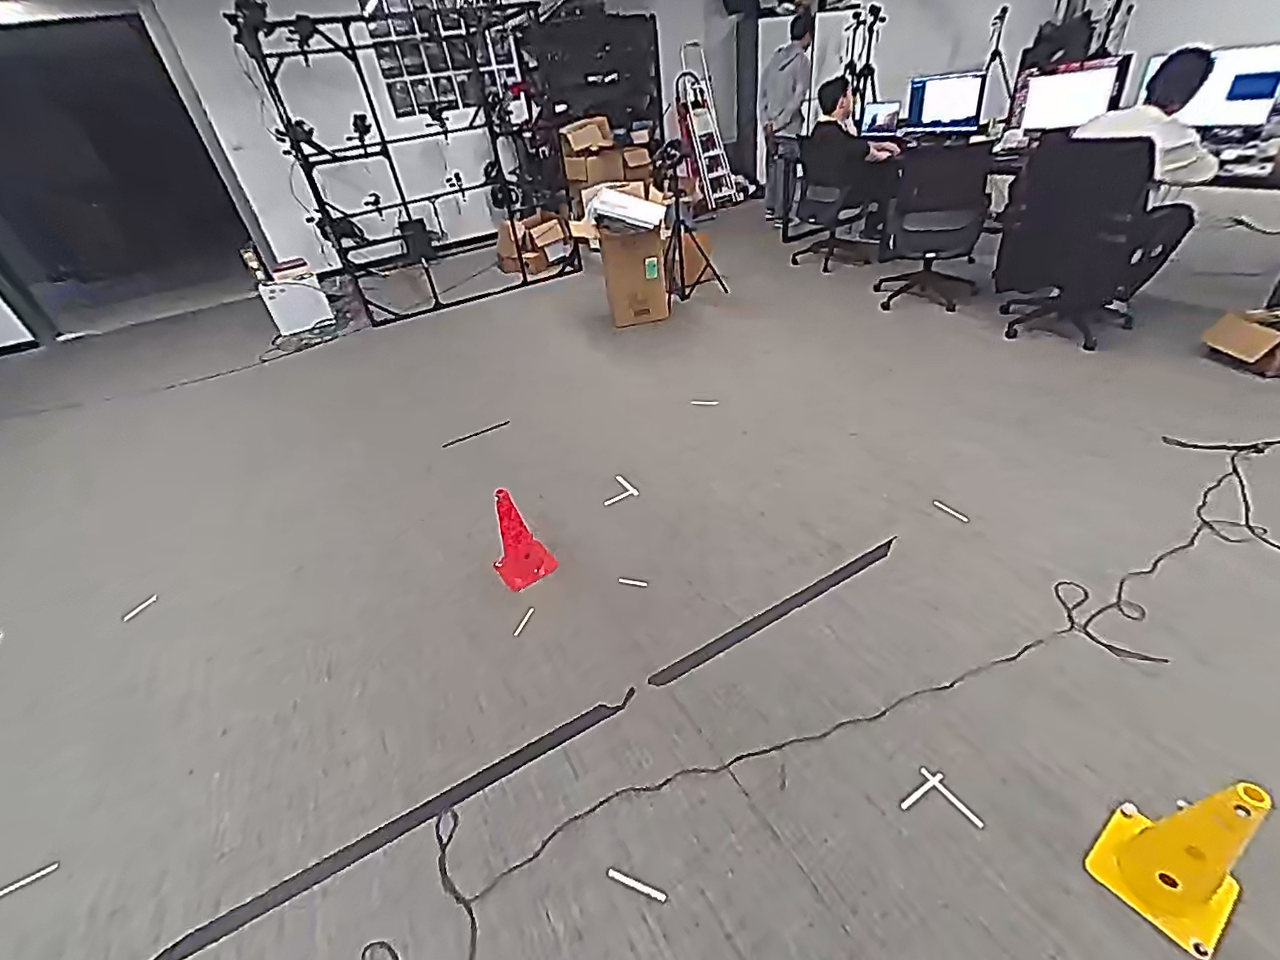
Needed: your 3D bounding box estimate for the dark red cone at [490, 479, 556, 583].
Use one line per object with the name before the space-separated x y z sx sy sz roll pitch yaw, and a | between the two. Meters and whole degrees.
dark red cone | -0.459 0.164 1.940 0.202 0.394 0.201 -29 41 -26
